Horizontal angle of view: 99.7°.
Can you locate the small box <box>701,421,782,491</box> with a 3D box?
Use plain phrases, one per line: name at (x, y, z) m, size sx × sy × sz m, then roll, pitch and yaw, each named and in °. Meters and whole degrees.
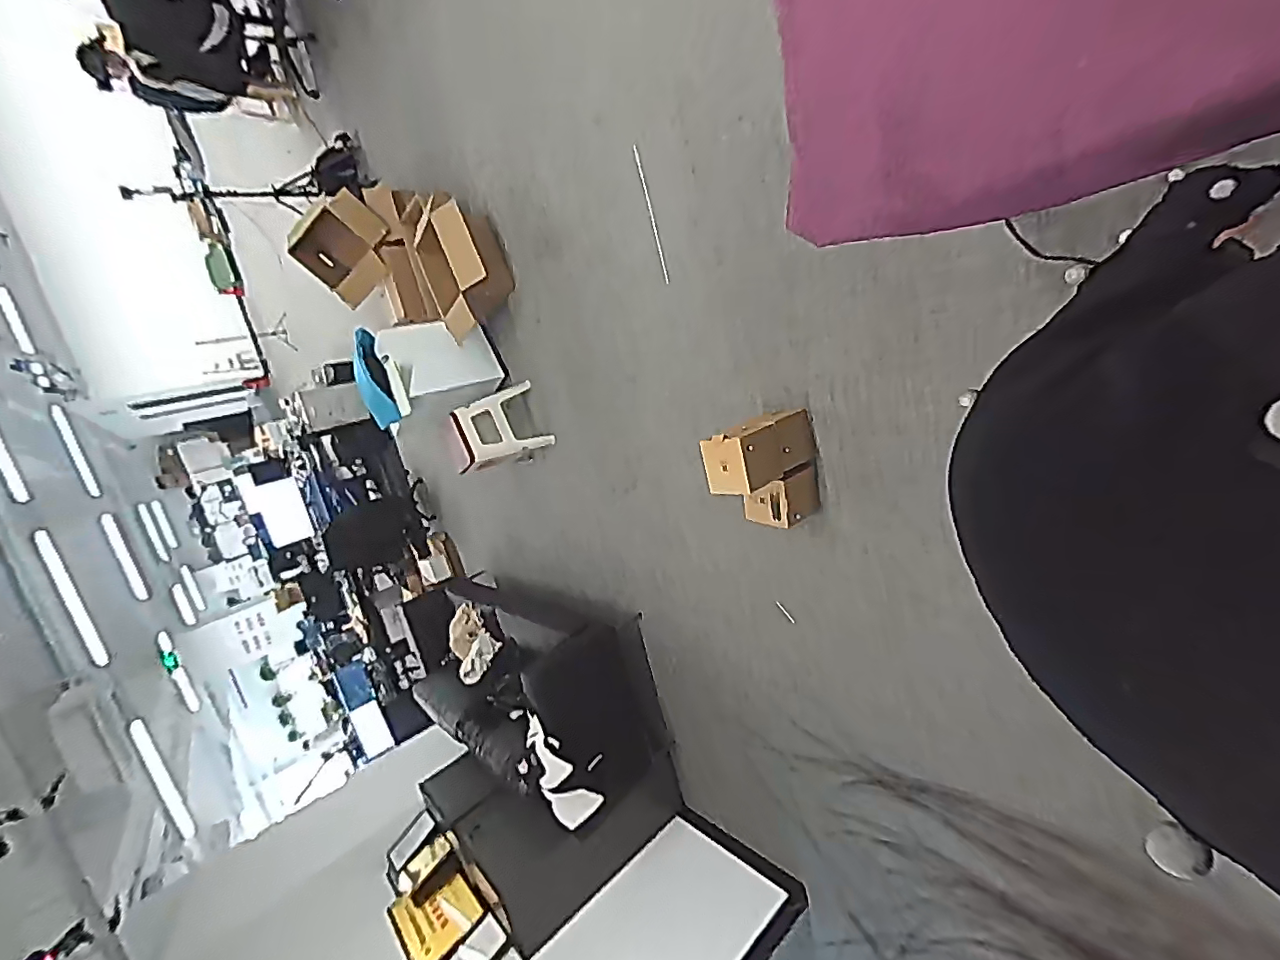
small box at (0.320, -0.074, 1.676) m, size 0.168 × 0.176 × 0.179 m, roll -1°, pitch 107°, yaw 51°
